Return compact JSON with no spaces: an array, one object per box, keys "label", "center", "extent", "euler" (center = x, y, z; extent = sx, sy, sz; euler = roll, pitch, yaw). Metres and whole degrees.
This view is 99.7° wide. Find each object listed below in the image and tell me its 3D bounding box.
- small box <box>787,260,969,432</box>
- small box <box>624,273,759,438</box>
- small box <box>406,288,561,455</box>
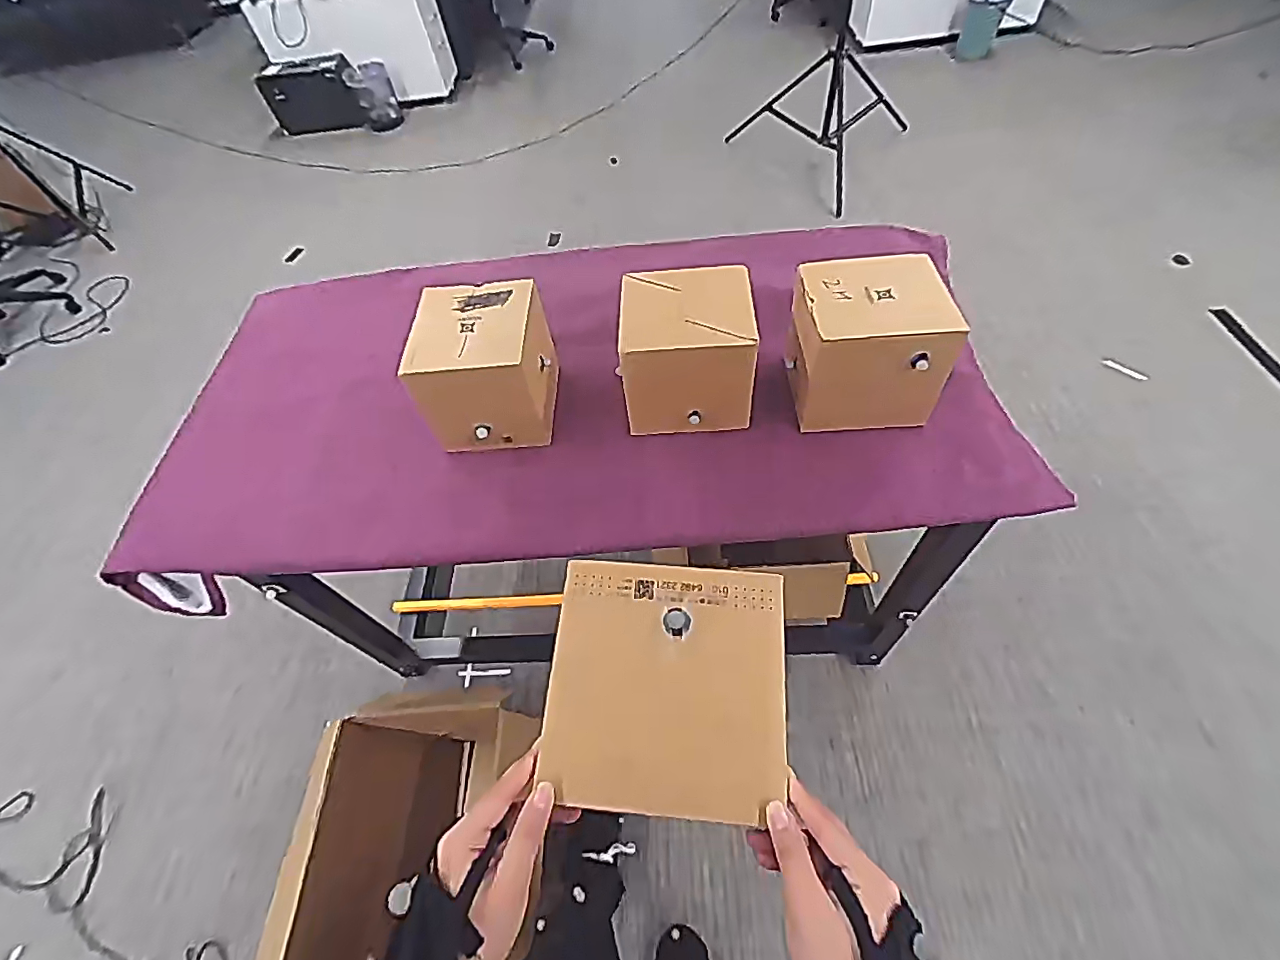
[{"label":"small box","center":[0.315,-0.182,0.759],"extent":[0.179,0.176,0.168],"euler":[-3,52,5]},{"label":"small box","center":[0.070,-0.180,0.785],"extent":[0.179,0.176,0.168],"euler":[-3,53,6]},{"label":"small box","center":[-0.217,-0.159,0.809],"extent":[0.168,0.176,0.179],"euler":[-4,55,4]}]
